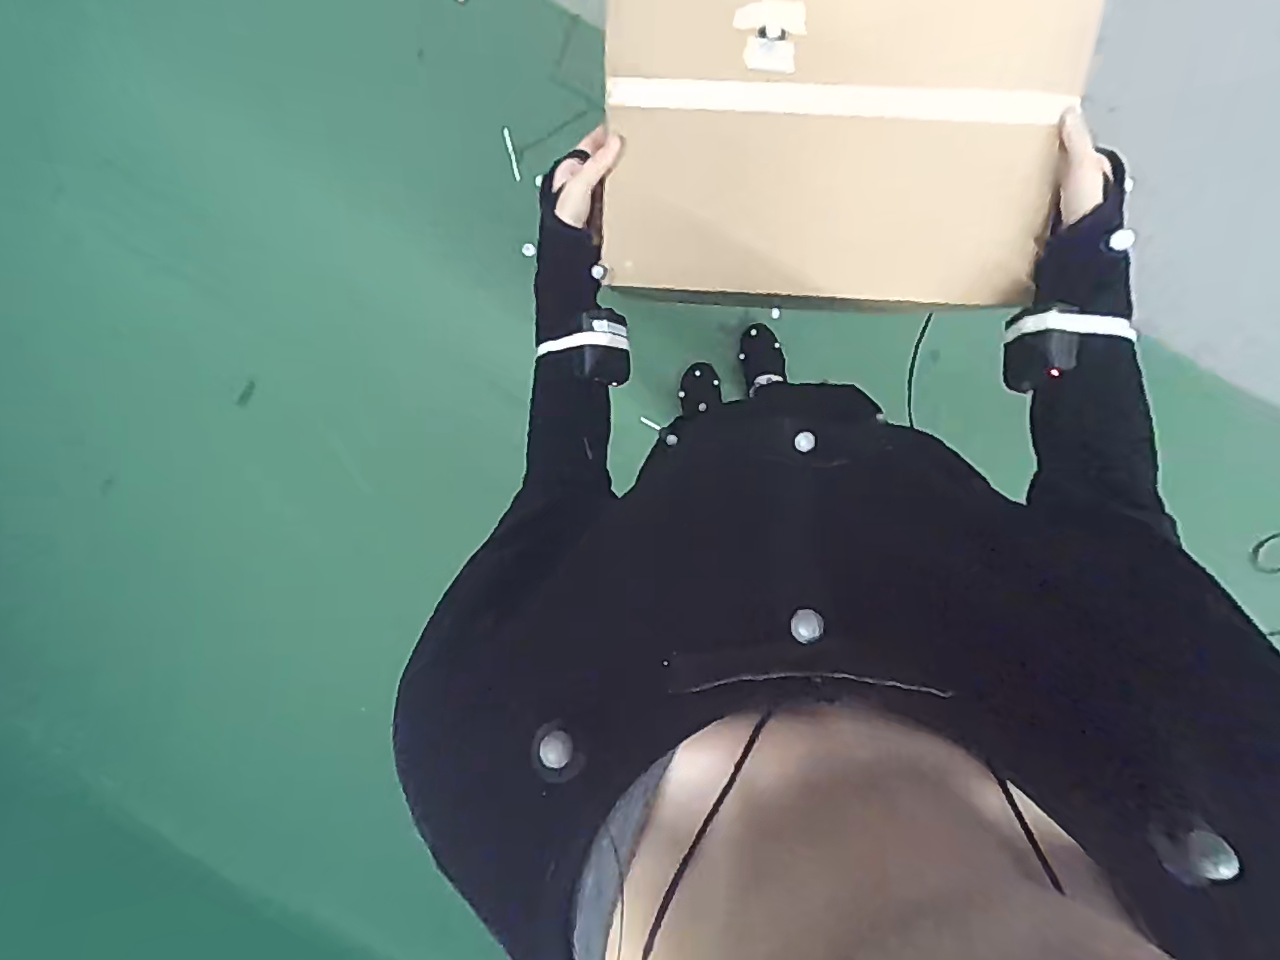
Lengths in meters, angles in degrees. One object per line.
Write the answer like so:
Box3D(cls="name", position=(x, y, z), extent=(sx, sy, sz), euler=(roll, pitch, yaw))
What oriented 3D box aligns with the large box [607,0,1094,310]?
Box3D(cls="large box", position=(0.182, -0.365, 0.622), extent=(0.408, 0.320, 0.320), euler=(5, 105, 2))
